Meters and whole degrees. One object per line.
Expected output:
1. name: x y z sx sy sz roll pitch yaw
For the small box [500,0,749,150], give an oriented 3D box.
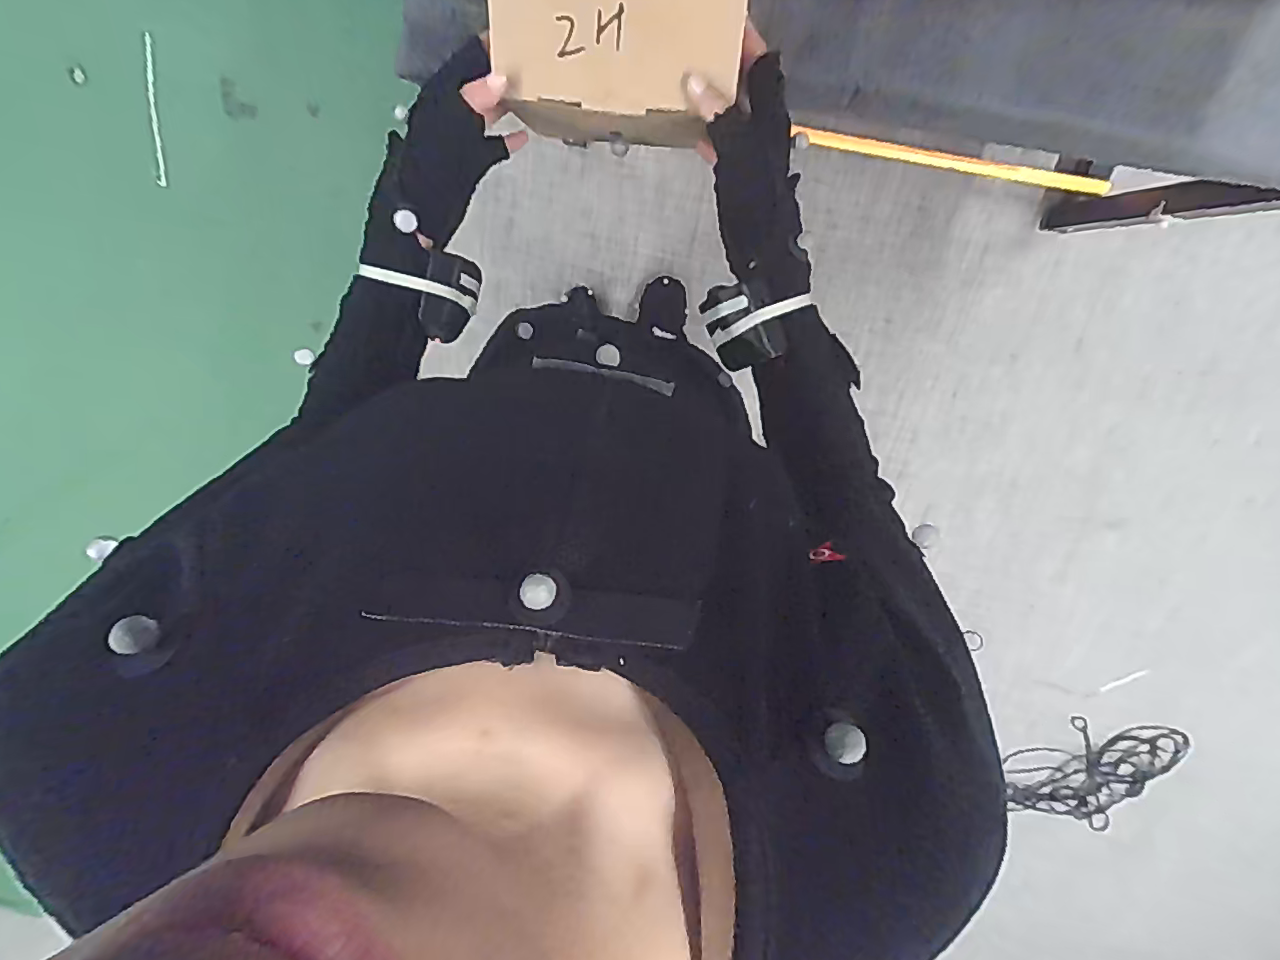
1. small box: -0.006 -0.375 0.417 0.168 0.176 0.179 5 114 0
